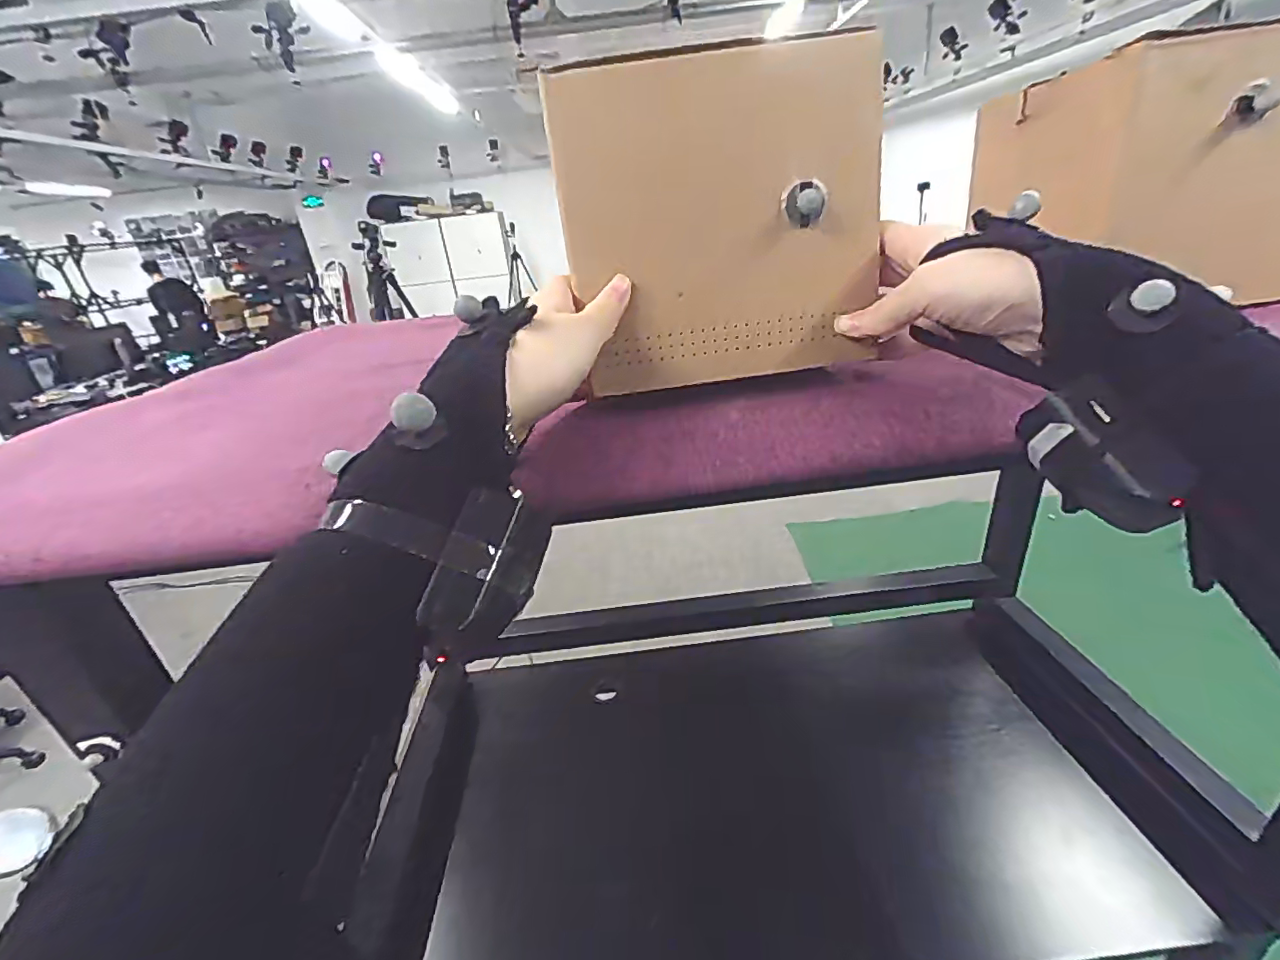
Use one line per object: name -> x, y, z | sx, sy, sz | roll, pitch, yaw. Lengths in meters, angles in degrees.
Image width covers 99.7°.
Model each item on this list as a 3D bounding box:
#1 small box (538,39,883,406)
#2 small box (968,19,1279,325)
small box -> 0.040, -0.157, 0.368 | 0.179, 0.176, 0.168 | -9, 20, -1
small box -> 0.385, -0.222, 0.420 | 0.179, 0.176, 0.168 | -7, 24, 1
